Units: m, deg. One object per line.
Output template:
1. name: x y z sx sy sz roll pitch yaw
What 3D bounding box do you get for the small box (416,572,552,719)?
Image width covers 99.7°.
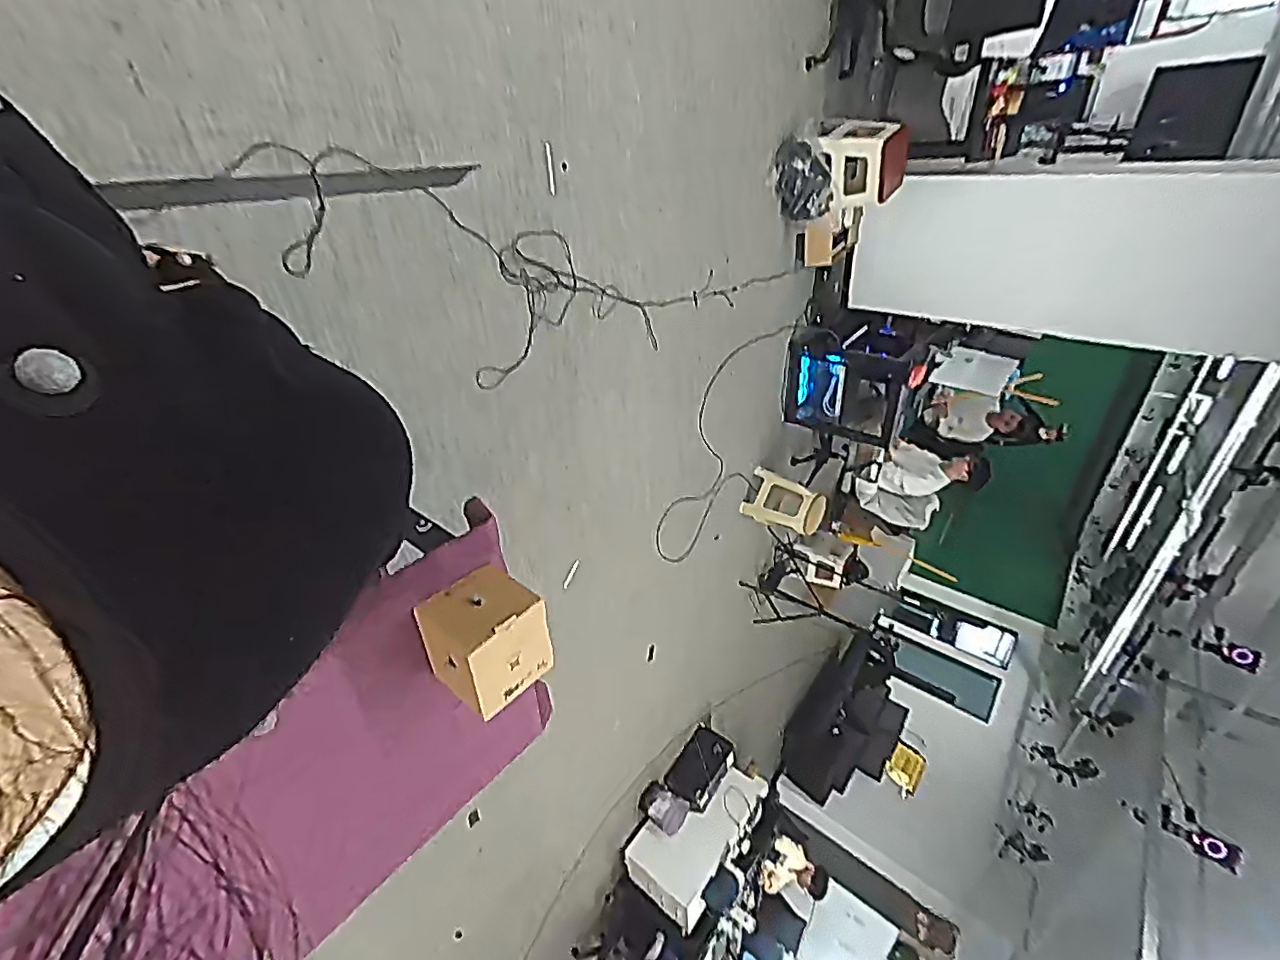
1. small box: -0.287 0.292 1.002 0.168 0.176 0.179 -32 131 -40
